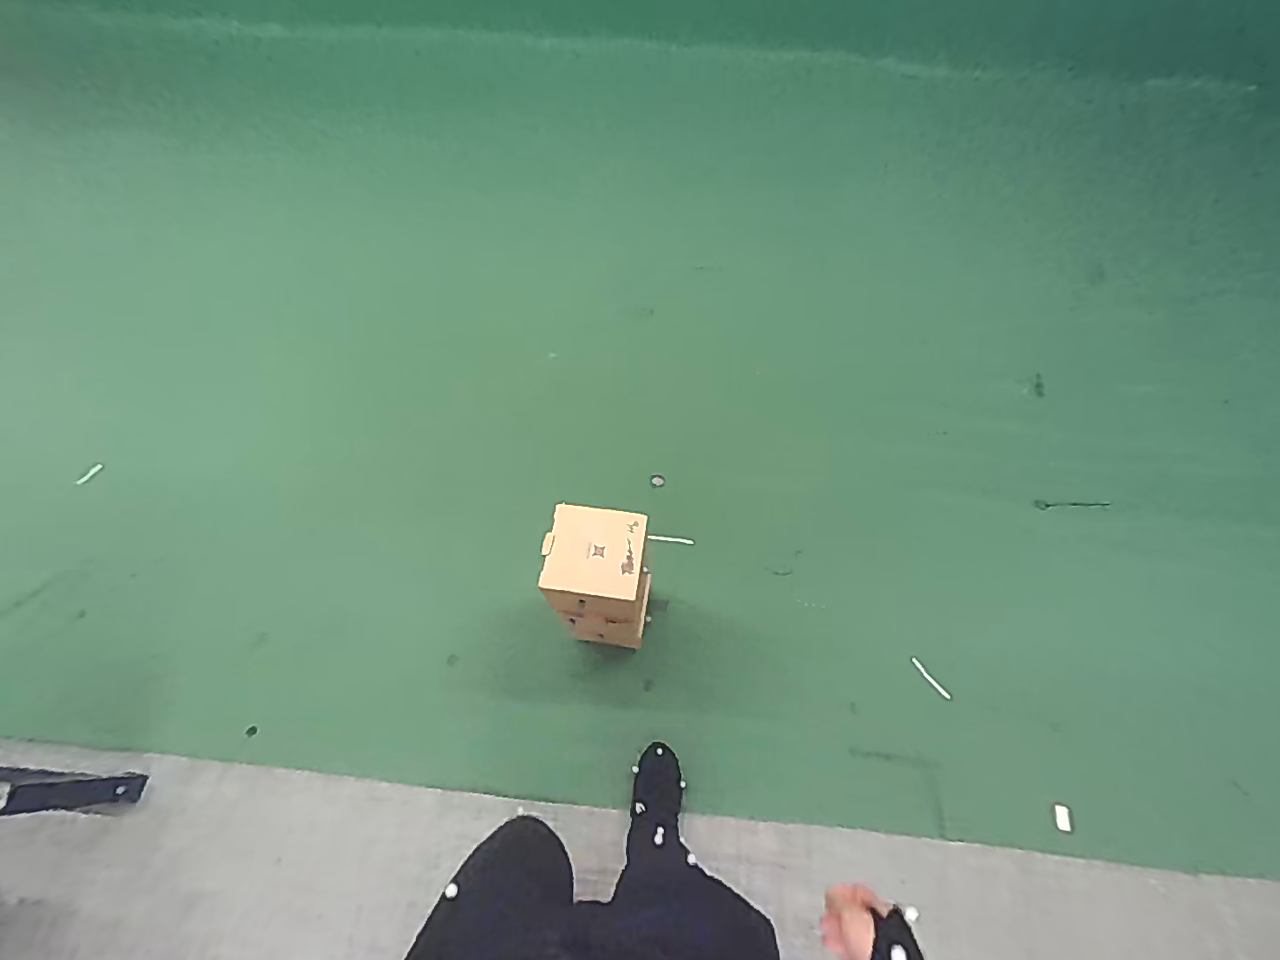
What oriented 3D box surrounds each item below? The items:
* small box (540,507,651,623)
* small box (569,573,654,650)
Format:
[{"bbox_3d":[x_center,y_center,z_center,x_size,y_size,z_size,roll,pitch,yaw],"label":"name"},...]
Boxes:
[{"bbox_3d":[-0.077,0.169,1.040,0.179,0.176,0.168,7,64,4],"label":"small box"},{"bbox_3d":[-0.065,0.316,1.333,0.179,0.176,0.168,8,65,5],"label":"small box"}]
